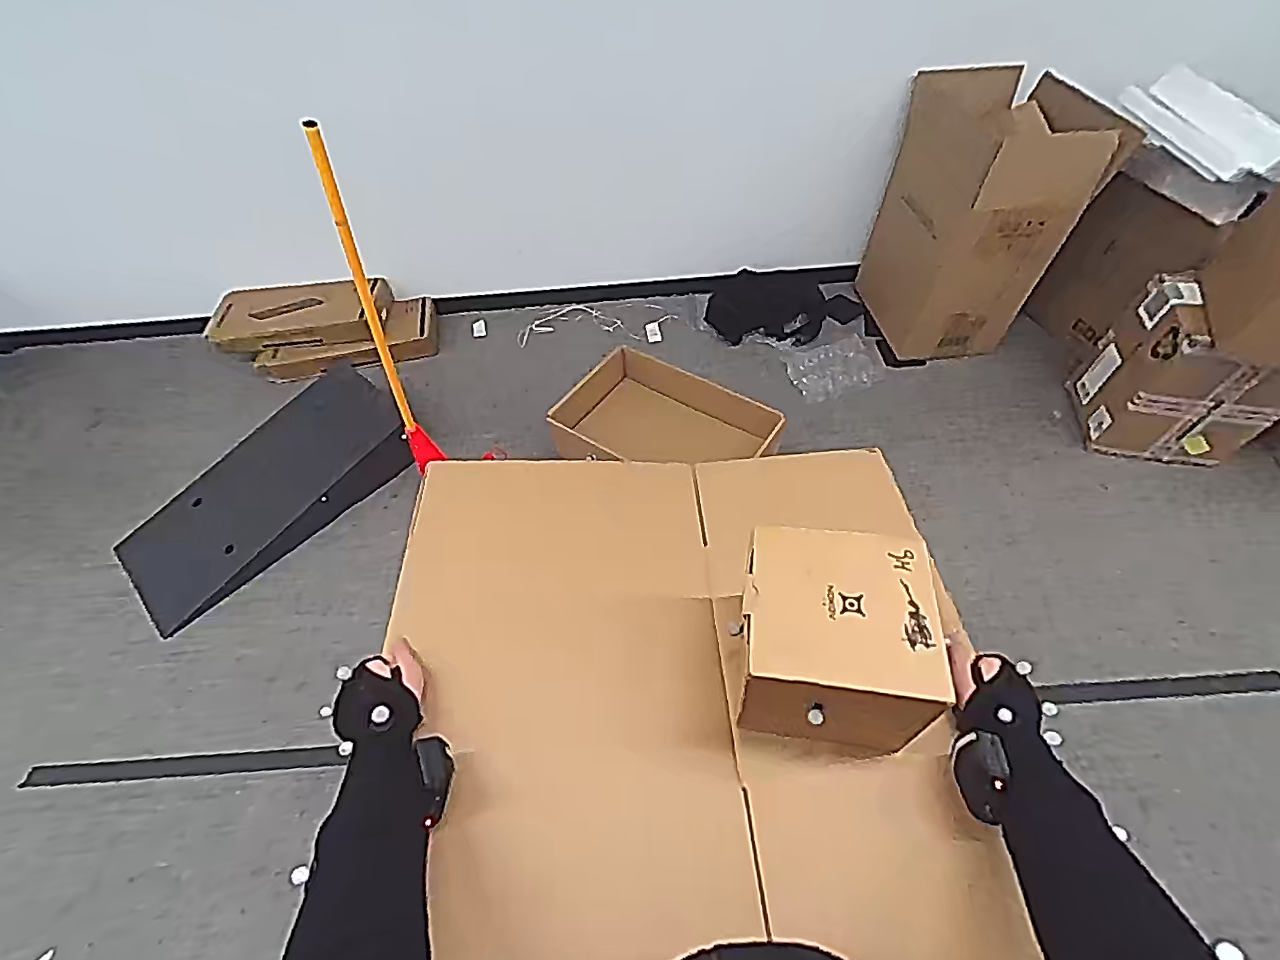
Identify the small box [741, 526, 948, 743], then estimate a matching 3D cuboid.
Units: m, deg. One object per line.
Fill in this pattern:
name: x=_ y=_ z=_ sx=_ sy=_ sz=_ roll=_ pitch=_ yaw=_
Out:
small box: x=0.204 y=0.170 z=0.589 sx=0.179 sy=0.176 sz=0.168 roll=4 pitch=51 yaw=11
